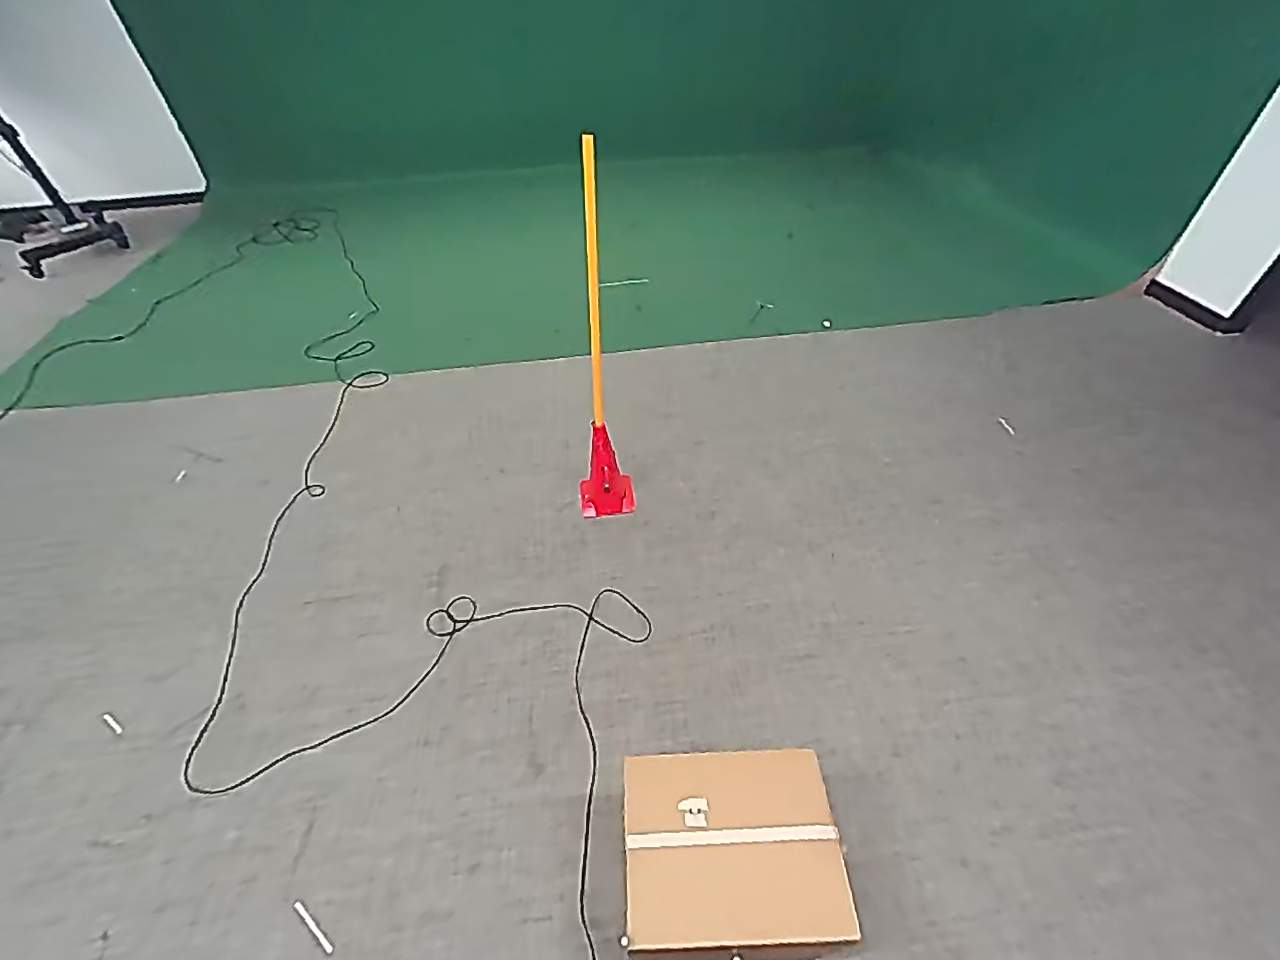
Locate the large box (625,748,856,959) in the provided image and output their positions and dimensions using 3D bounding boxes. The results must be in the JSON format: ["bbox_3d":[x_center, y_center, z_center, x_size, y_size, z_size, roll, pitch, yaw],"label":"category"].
[{"bbox_3d":[0.181,0.792,1.143,0.408,0.320,0.320,-3,44,1],"label":"large box"}]
